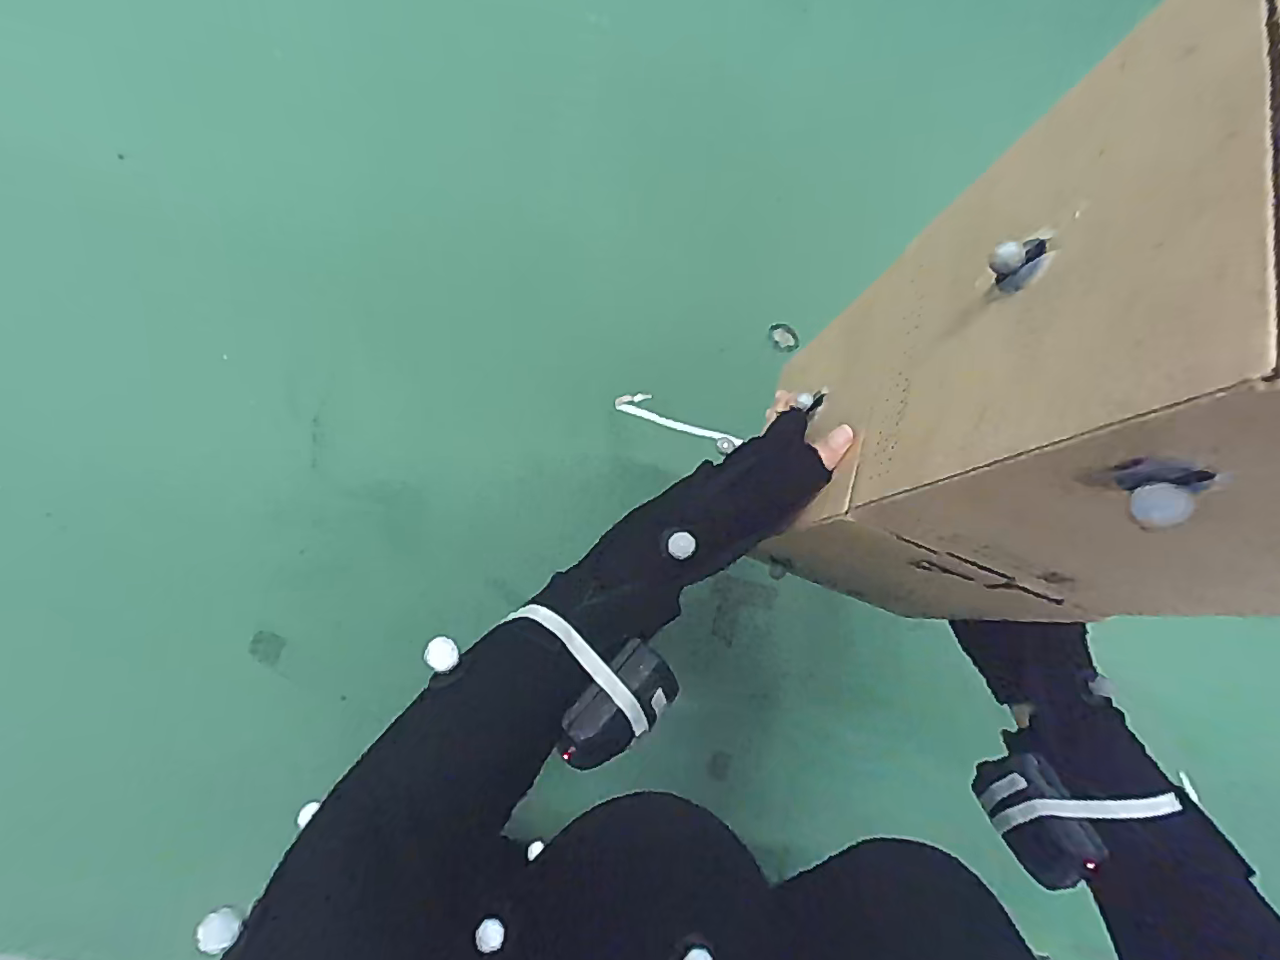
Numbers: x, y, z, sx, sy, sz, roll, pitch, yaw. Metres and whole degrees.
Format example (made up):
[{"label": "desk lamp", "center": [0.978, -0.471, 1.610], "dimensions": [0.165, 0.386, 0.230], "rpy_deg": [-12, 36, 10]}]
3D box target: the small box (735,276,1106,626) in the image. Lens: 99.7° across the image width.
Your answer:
[{"label": "small box", "center": [0.186, -0.003, 0.398], "dimensions": [0.168, 0.176, 0.179], "rpy_deg": [21, 72, -6]}]
